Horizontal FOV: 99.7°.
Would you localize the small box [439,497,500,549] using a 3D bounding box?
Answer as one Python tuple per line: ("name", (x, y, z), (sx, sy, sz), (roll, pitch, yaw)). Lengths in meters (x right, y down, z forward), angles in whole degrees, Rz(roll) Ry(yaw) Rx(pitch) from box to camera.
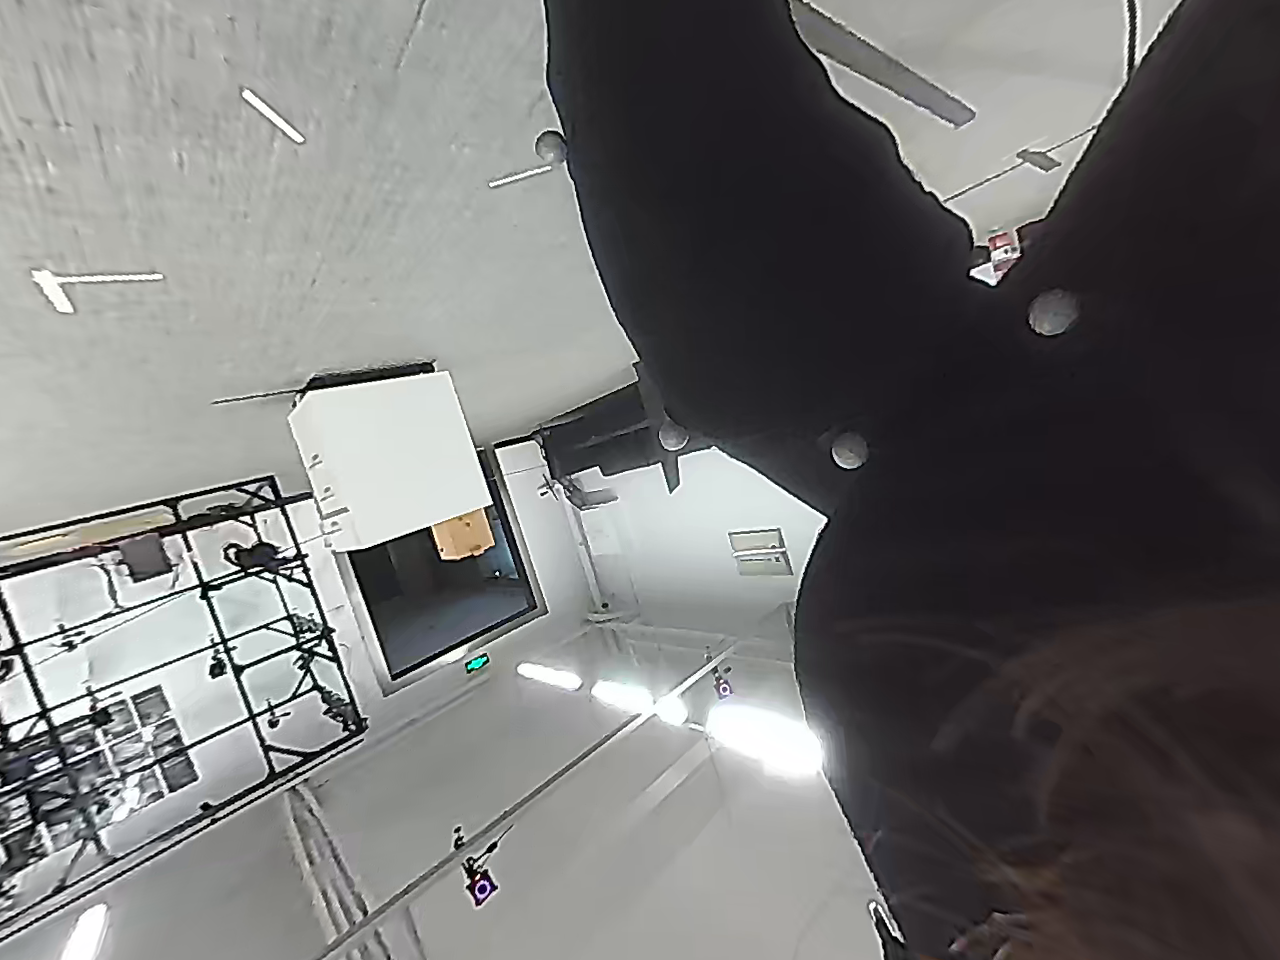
("small box", (-0.711, 0.176, 2.234), (0.168, 0.176, 0.179), (-23, -172, -39))
